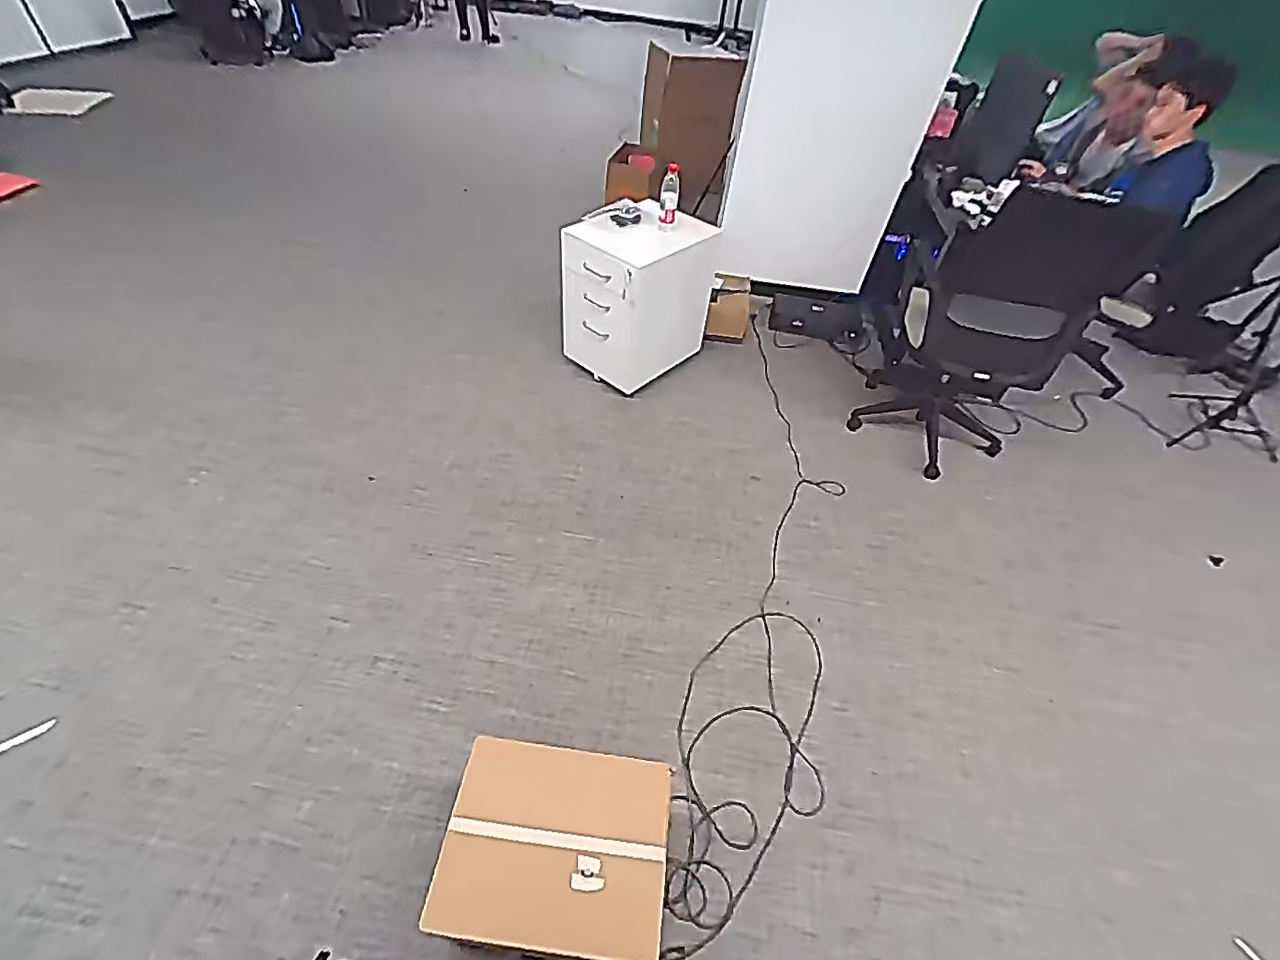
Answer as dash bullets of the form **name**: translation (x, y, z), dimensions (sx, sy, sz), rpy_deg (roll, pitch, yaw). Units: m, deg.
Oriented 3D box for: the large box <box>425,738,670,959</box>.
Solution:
- **large box**: translation (-0.165, 0.764, 1.109), dimensions (0.408, 0.320, 0.320), rpy_deg (8, 47, 1)
